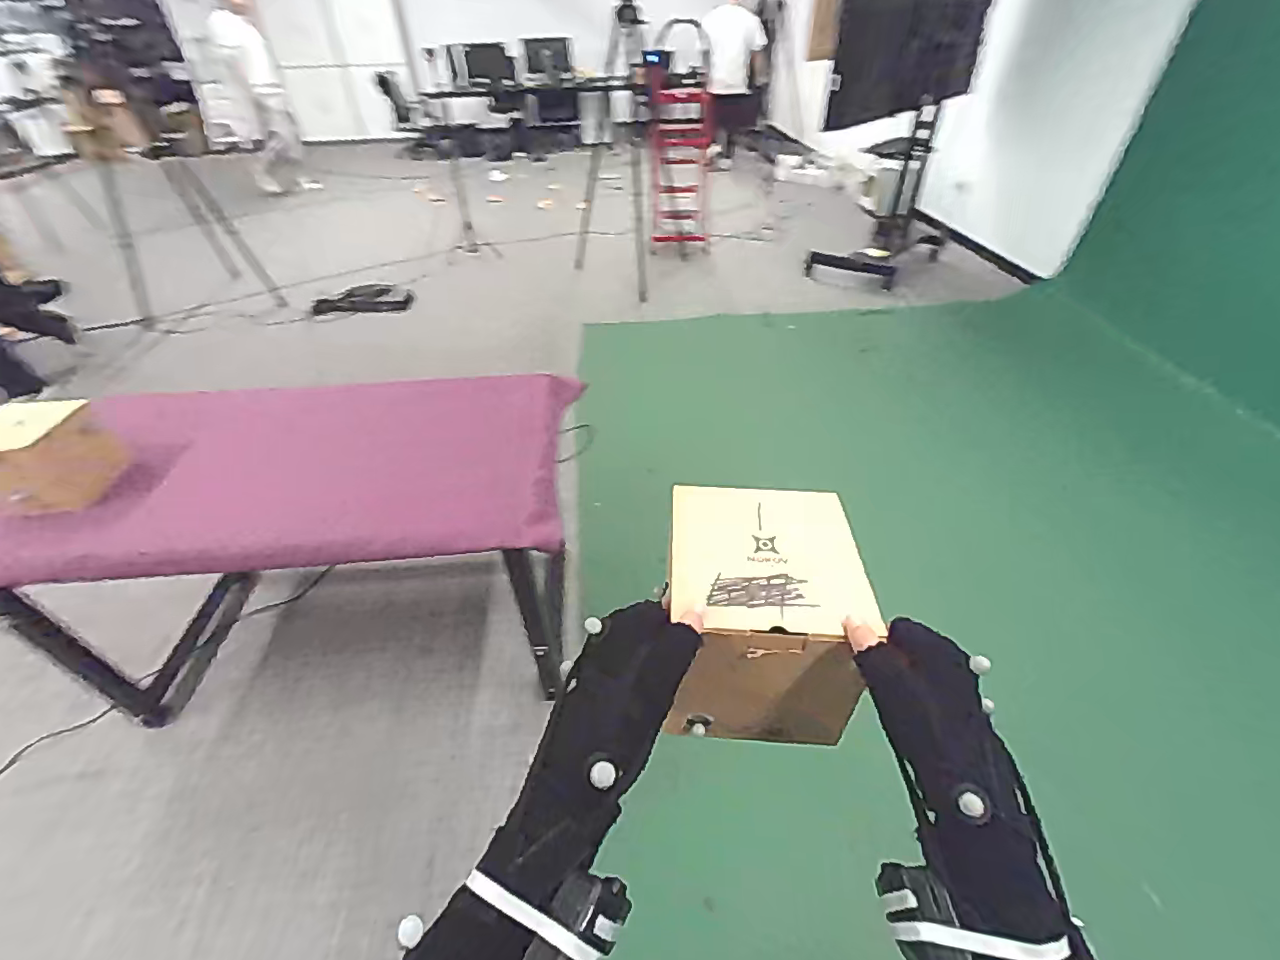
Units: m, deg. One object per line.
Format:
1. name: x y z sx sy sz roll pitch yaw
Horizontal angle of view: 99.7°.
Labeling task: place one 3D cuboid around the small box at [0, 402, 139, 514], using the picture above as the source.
1. small box: -1.242 -0.048 1.159 0.168 0.176 0.179 -3 41 -1

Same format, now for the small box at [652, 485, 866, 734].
1. small box: 0.098 0.125 0.530 0.168 0.176 0.179 2 38 2
